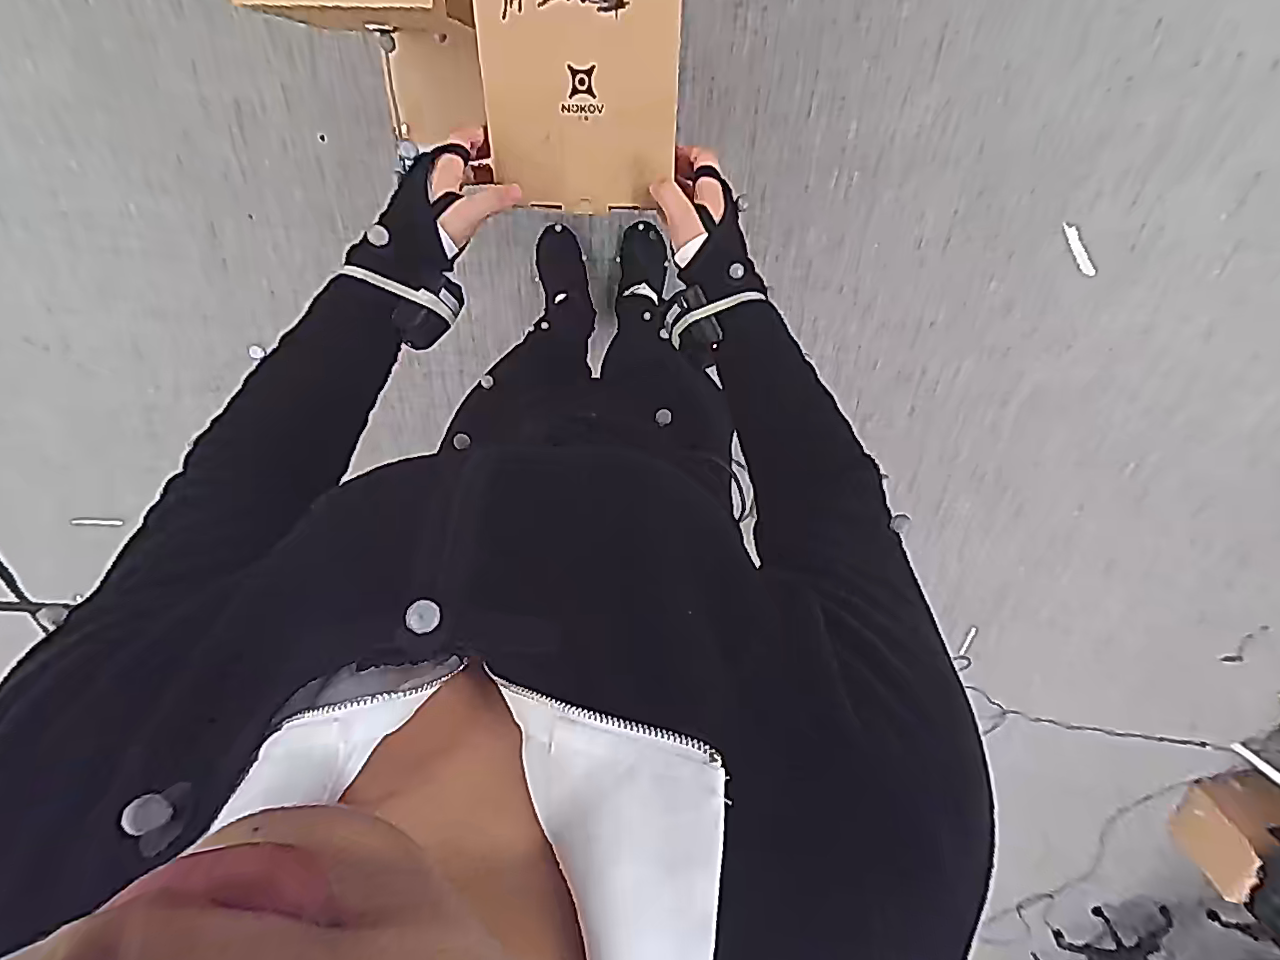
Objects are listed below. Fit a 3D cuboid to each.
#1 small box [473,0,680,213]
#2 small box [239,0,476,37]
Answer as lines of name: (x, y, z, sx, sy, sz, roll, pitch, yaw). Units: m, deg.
small box: (-0.051, -0.370, 0.524, 0.168, 0.176, 0.179, 1, 124, -1)
small box: (-0.236, -0.491, 0.447, 0.168, 0.176, 0.179, 2, 125, 1)
